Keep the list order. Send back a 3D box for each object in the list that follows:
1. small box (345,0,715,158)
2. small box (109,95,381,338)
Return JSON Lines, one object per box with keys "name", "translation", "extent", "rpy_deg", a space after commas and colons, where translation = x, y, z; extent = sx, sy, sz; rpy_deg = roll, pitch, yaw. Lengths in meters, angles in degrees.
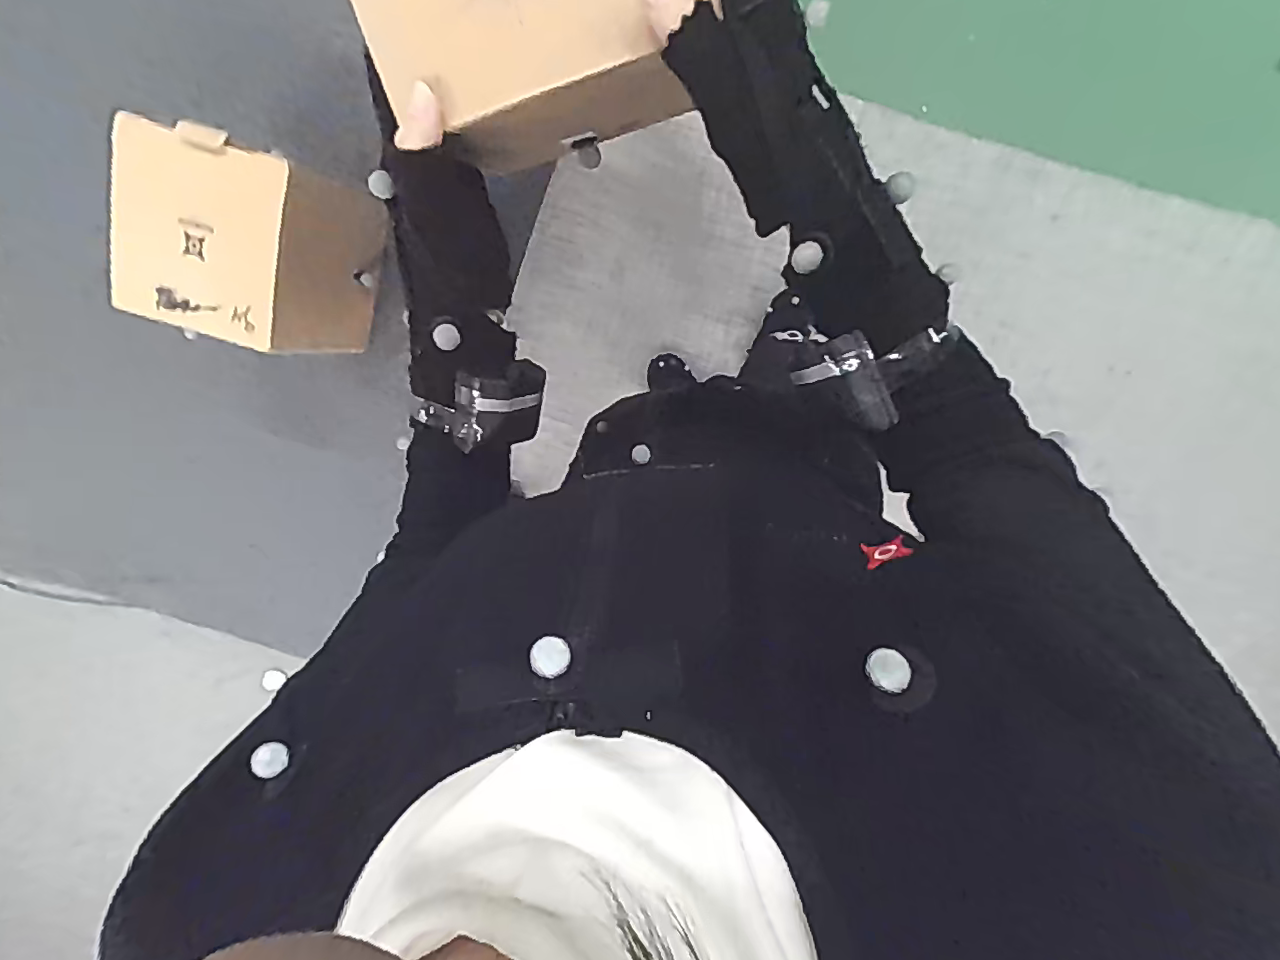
{"name": "small box", "translation": [-0.058, -0.301, 0.294], "extent": [0.168, 0.176, 0.179], "rpy_deg": [-11, 114, 12]}
{"name": "small box", "translation": [-0.407, -0.262, 0.581], "extent": [0.168, 0.176, 0.179], "rpy_deg": [17, 106, 2]}
